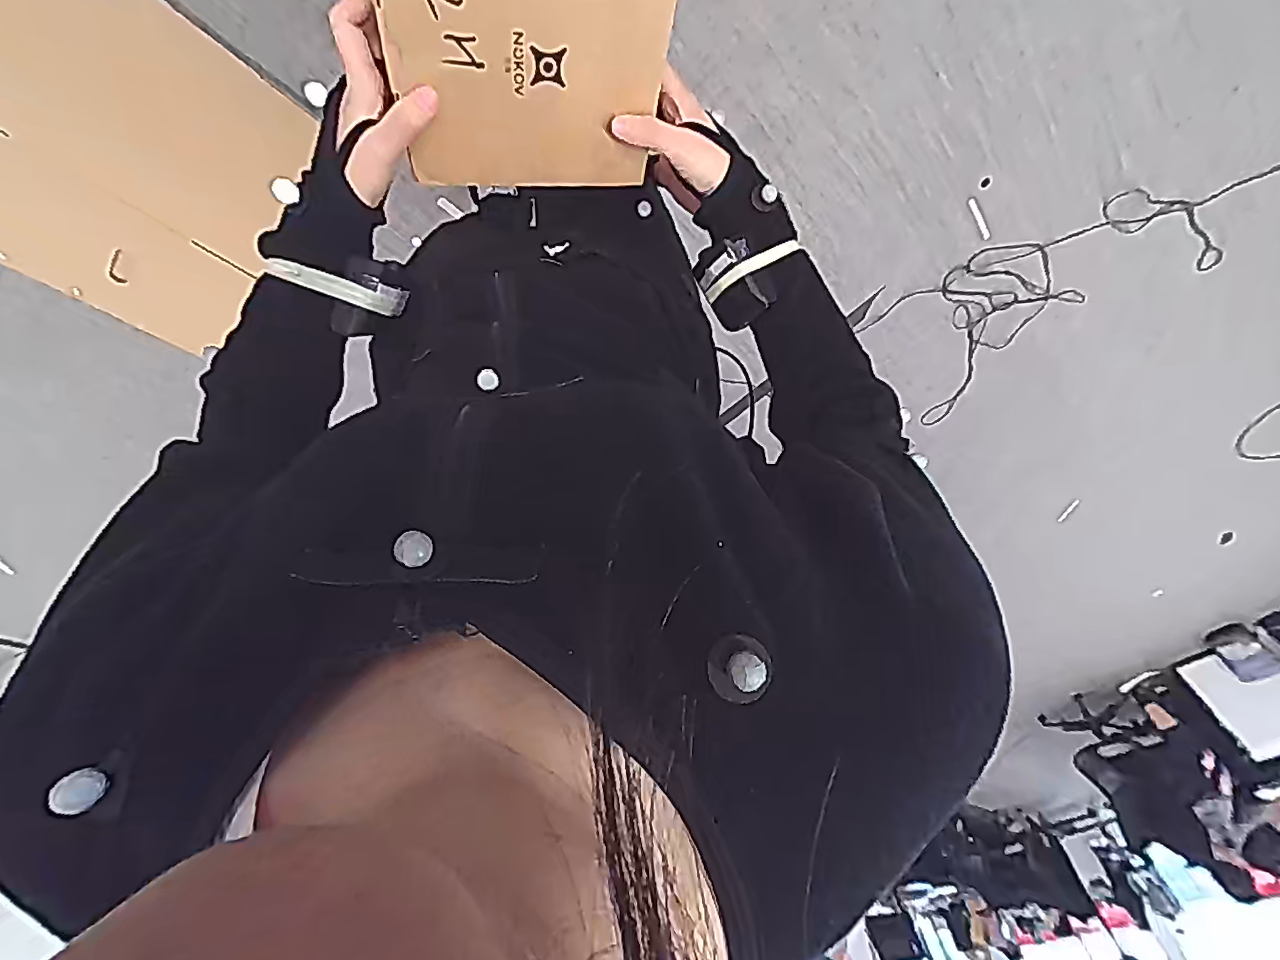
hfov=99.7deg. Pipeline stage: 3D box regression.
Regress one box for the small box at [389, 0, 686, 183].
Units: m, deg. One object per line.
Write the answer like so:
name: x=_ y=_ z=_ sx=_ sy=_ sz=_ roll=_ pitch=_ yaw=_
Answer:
small box: x=-0.080 y=-0.336 z=0.374 sx=0.179 sy=0.176 sz=0.168 roll=-8 pitch=154 yaw=-15
